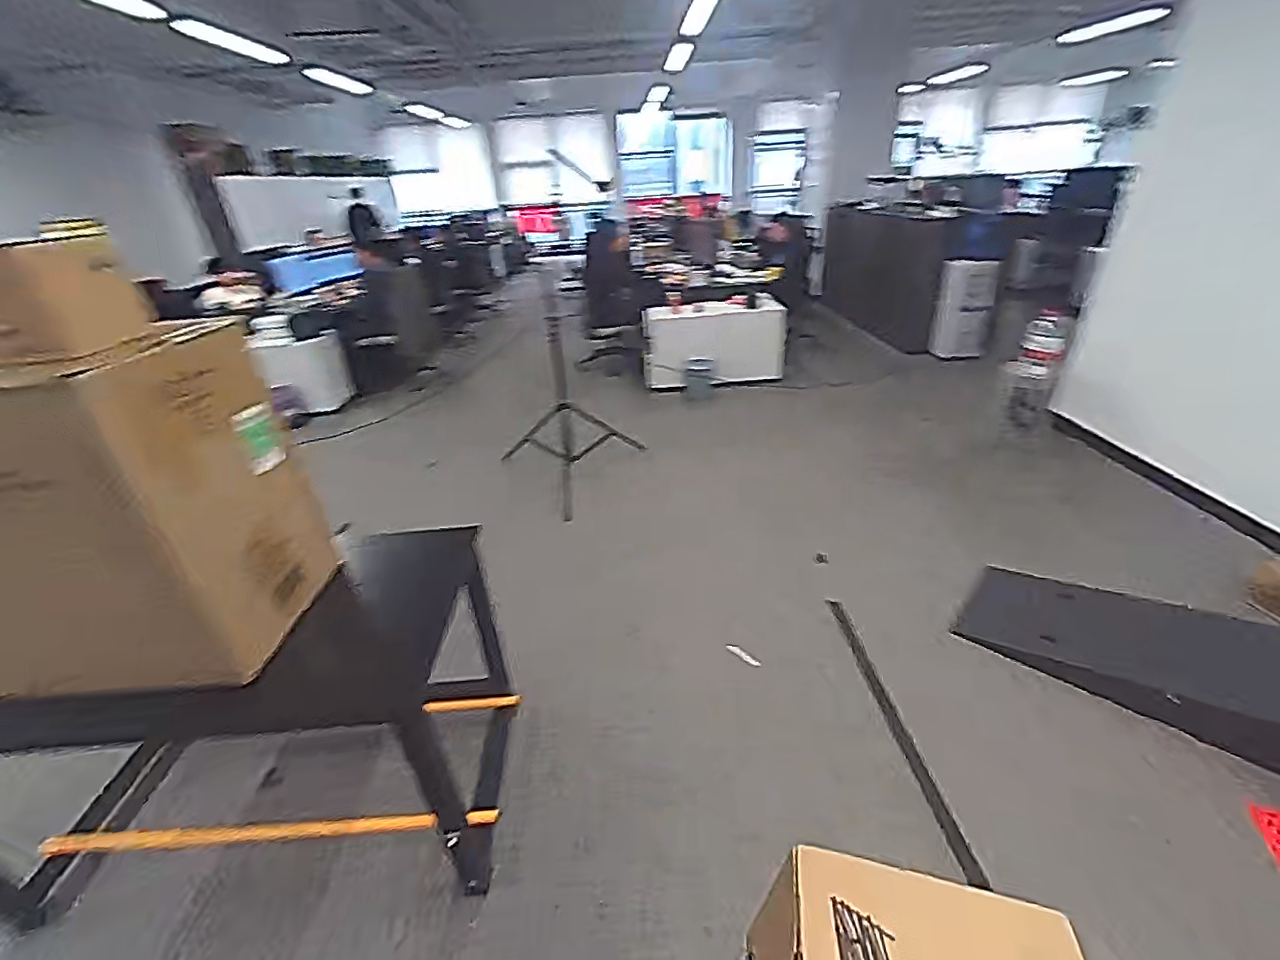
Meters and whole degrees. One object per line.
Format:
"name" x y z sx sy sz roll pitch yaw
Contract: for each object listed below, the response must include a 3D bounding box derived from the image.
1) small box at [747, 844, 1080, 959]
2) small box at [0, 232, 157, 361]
"small box" 0.159 0.367 0.329 0.179 0.176 0.168 11 34 6
"small box" -0.951 -0.301 0.882 0.168 0.176 0.179 -5 30 1
